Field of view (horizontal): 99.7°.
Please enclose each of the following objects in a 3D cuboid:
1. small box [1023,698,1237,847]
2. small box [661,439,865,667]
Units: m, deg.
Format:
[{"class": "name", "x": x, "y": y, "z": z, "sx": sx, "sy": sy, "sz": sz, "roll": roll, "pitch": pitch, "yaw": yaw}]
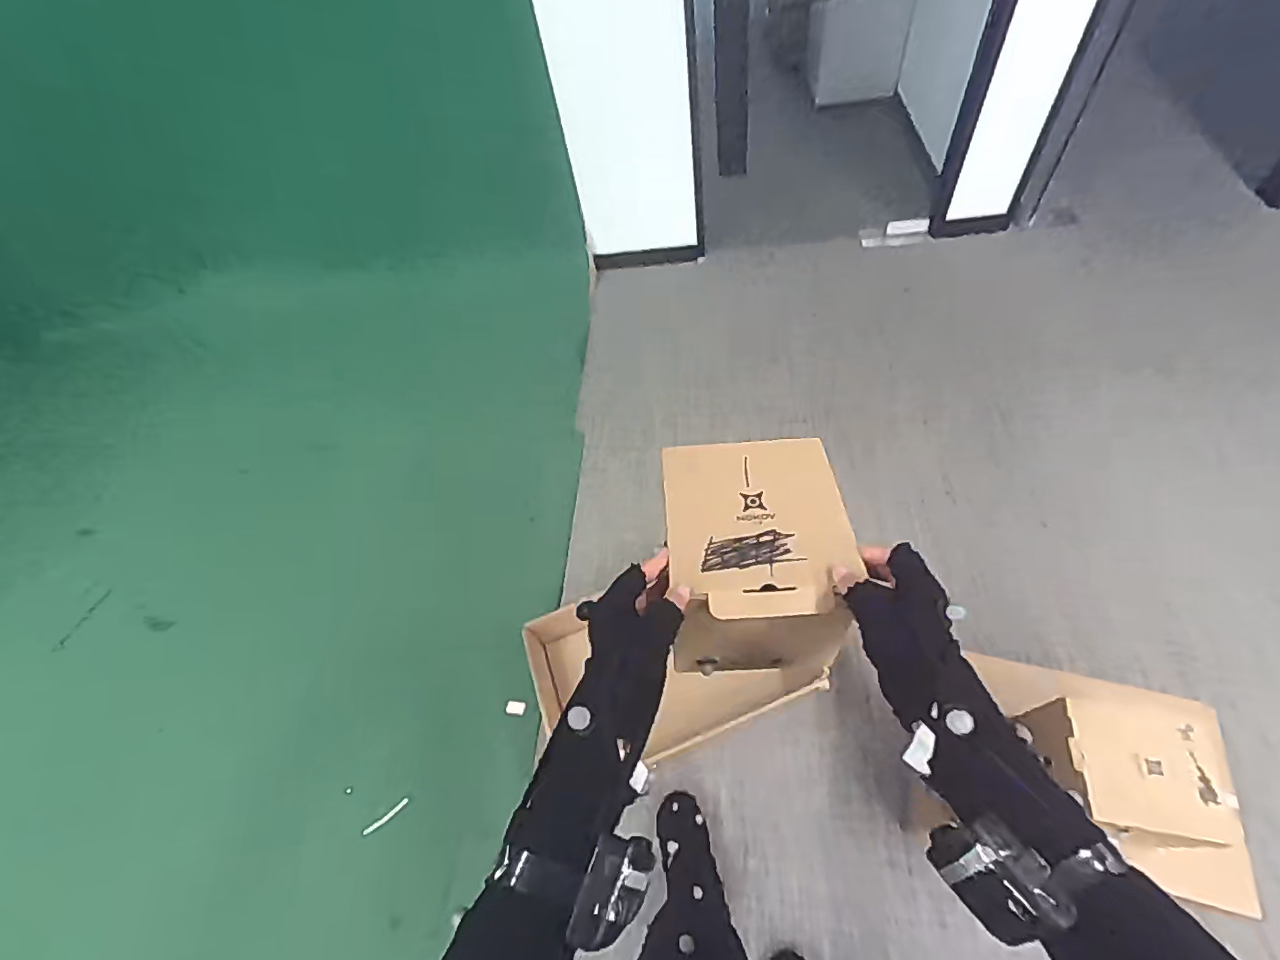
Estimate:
[{"class": "small box", "x": 0.723, "y": 0.451, "z": 0.830, "sx": 0.179, "sy": 0.176, "sz": 0.168, "roll": 4, "pitch": 57, "yaw": 13}, {"class": "small box", "x": 0.110, "y": 0.082, "z": 0.557, "sx": 0.168, "sy": 0.176, "sz": 0.179, "roll": -4, "pitch": 48, "yaw": 3}]
